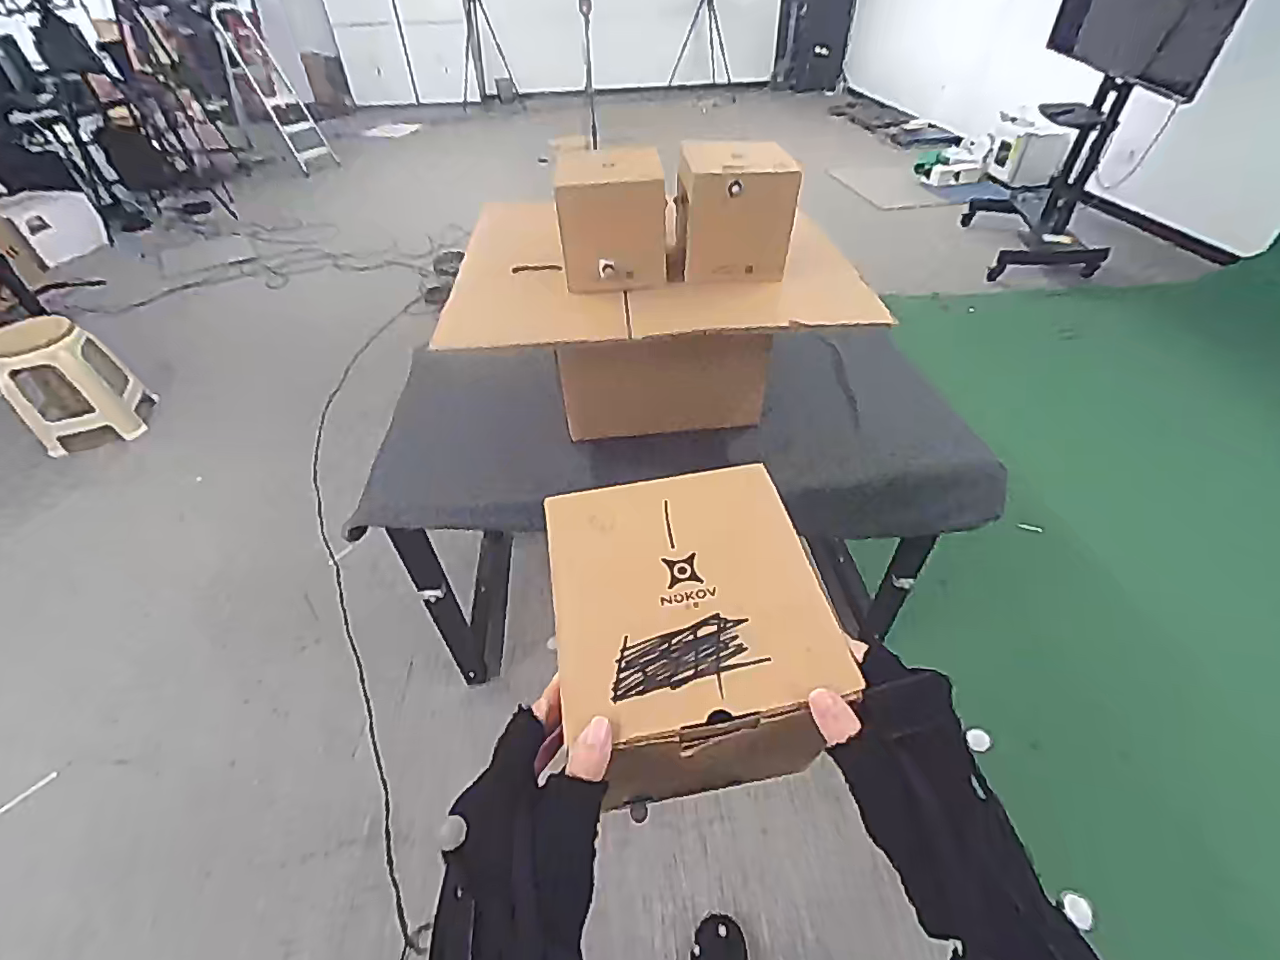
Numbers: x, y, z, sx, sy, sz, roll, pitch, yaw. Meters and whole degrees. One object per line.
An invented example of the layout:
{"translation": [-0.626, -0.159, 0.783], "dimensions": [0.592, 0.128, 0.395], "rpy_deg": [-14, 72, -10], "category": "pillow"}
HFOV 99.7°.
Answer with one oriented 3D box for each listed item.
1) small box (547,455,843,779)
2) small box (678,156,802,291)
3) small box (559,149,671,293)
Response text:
{"translation": [0.027, 0.109, 0.412], "dimensions": [0.168, 0.176, 0.179], "rpy_deg": [-9, 48, -5], "category": "small box"}
{"translation": [0.156, -0.436, 0.918], "dimensions": [0.168, 0.176, 0.179], "rpy_deg": [-2, 43, -2], "category": "small box"}
{"translation": [-0.039, -0.431, 0.901], "dimensions": [0.168, 0.176, 0.179], "rpy_deg": [-5, 45, -1], "category": "small box"}
